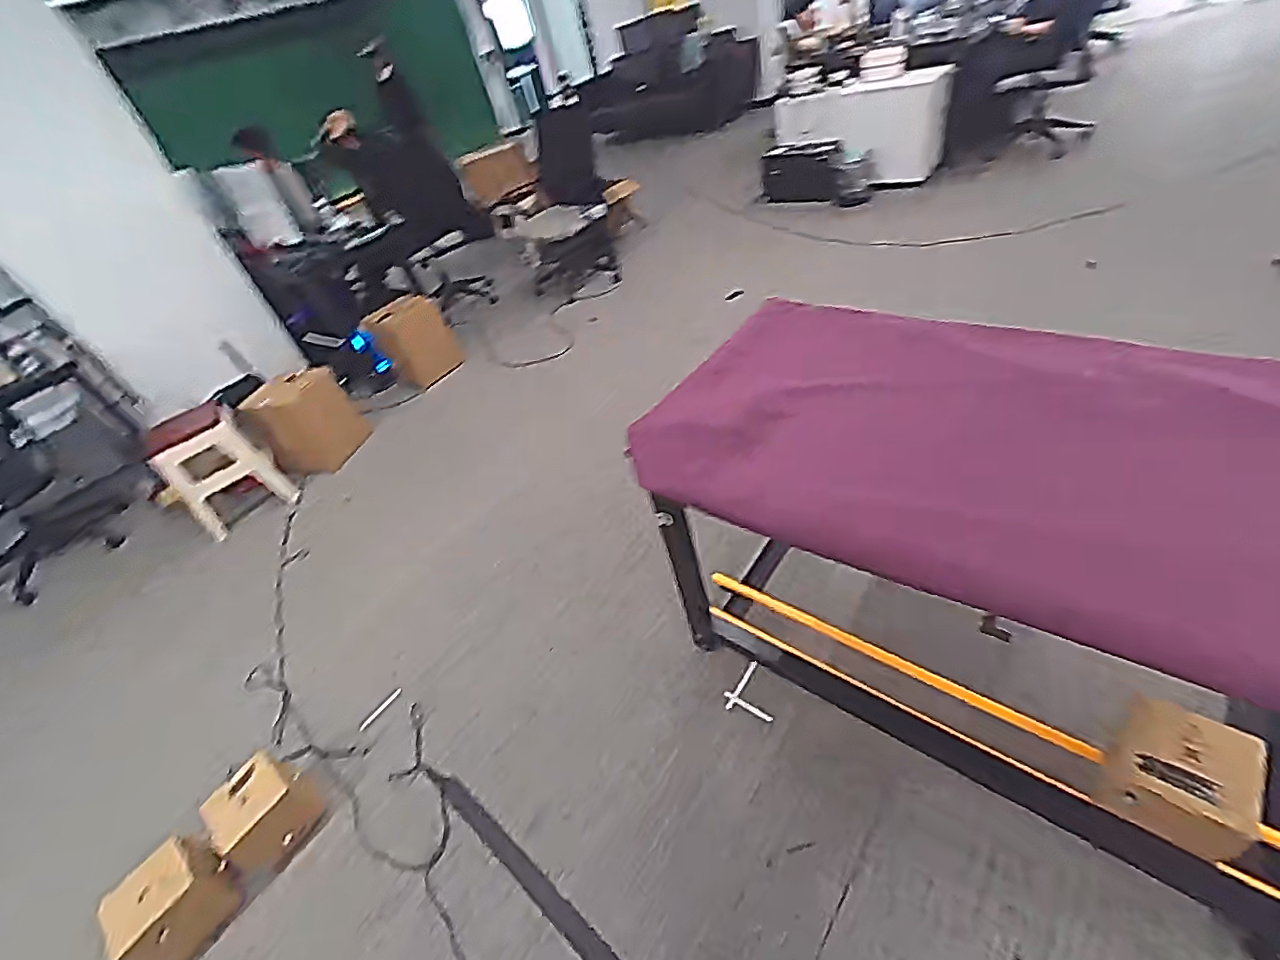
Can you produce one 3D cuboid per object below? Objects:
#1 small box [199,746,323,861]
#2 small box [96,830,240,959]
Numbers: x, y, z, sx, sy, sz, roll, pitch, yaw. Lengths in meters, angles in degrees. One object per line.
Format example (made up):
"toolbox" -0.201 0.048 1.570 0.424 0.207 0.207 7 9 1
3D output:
"small box" -0.965 0.832 1.387 0.179 0.176 0.168 21 53 34
"small box" -1.102 0.978 1.270 0.168 0.176 0.179 22 55 35
